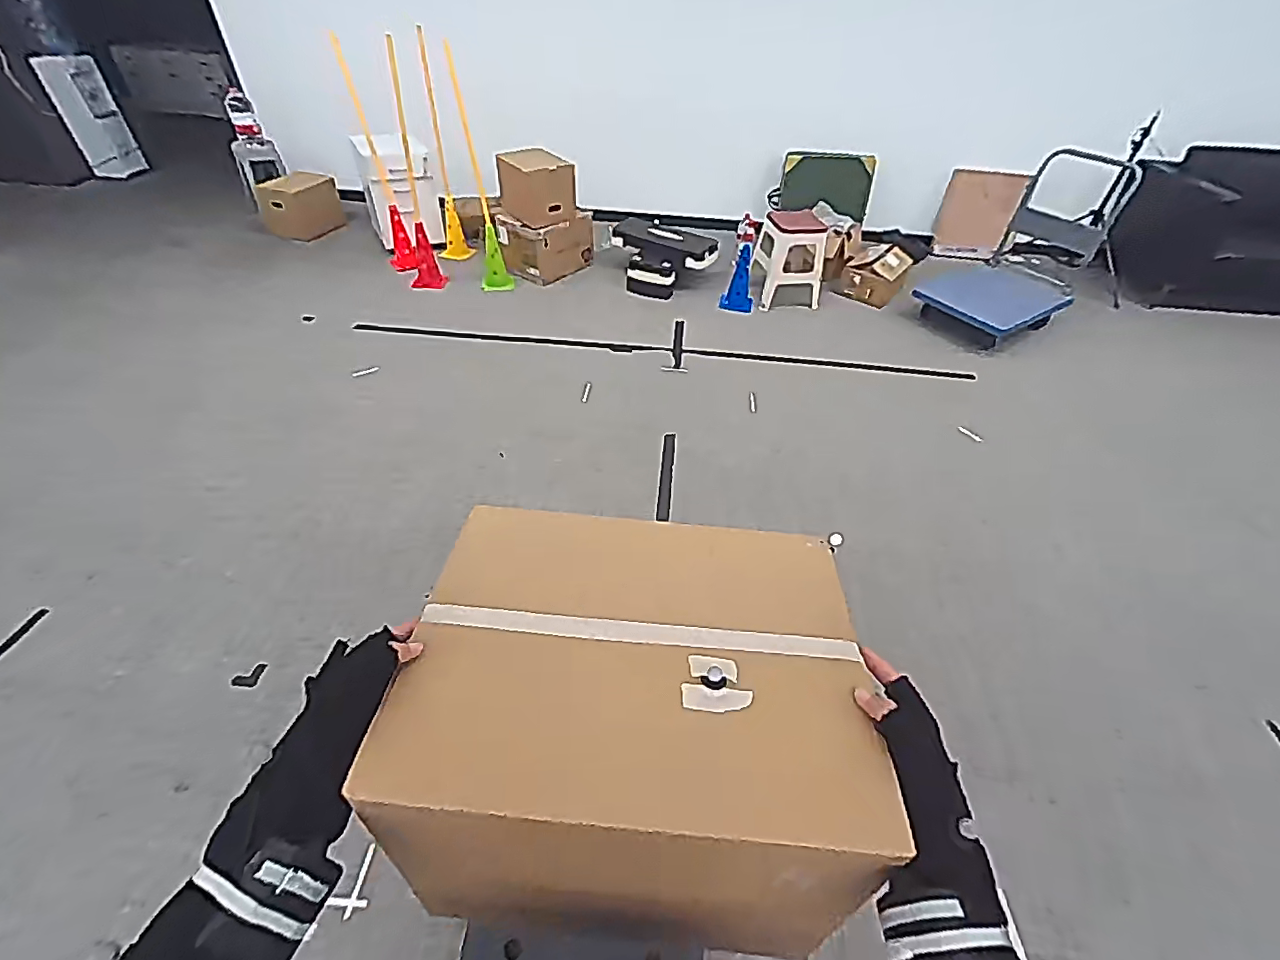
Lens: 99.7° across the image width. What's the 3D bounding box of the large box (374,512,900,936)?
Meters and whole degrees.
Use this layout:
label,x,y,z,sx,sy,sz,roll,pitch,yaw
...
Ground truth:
label,x,y,z,sx,sy,sz,roll,pitch,yaw
large box,-0.004,0.263,0.607,0.408,0.320,0.320,5,39,2
